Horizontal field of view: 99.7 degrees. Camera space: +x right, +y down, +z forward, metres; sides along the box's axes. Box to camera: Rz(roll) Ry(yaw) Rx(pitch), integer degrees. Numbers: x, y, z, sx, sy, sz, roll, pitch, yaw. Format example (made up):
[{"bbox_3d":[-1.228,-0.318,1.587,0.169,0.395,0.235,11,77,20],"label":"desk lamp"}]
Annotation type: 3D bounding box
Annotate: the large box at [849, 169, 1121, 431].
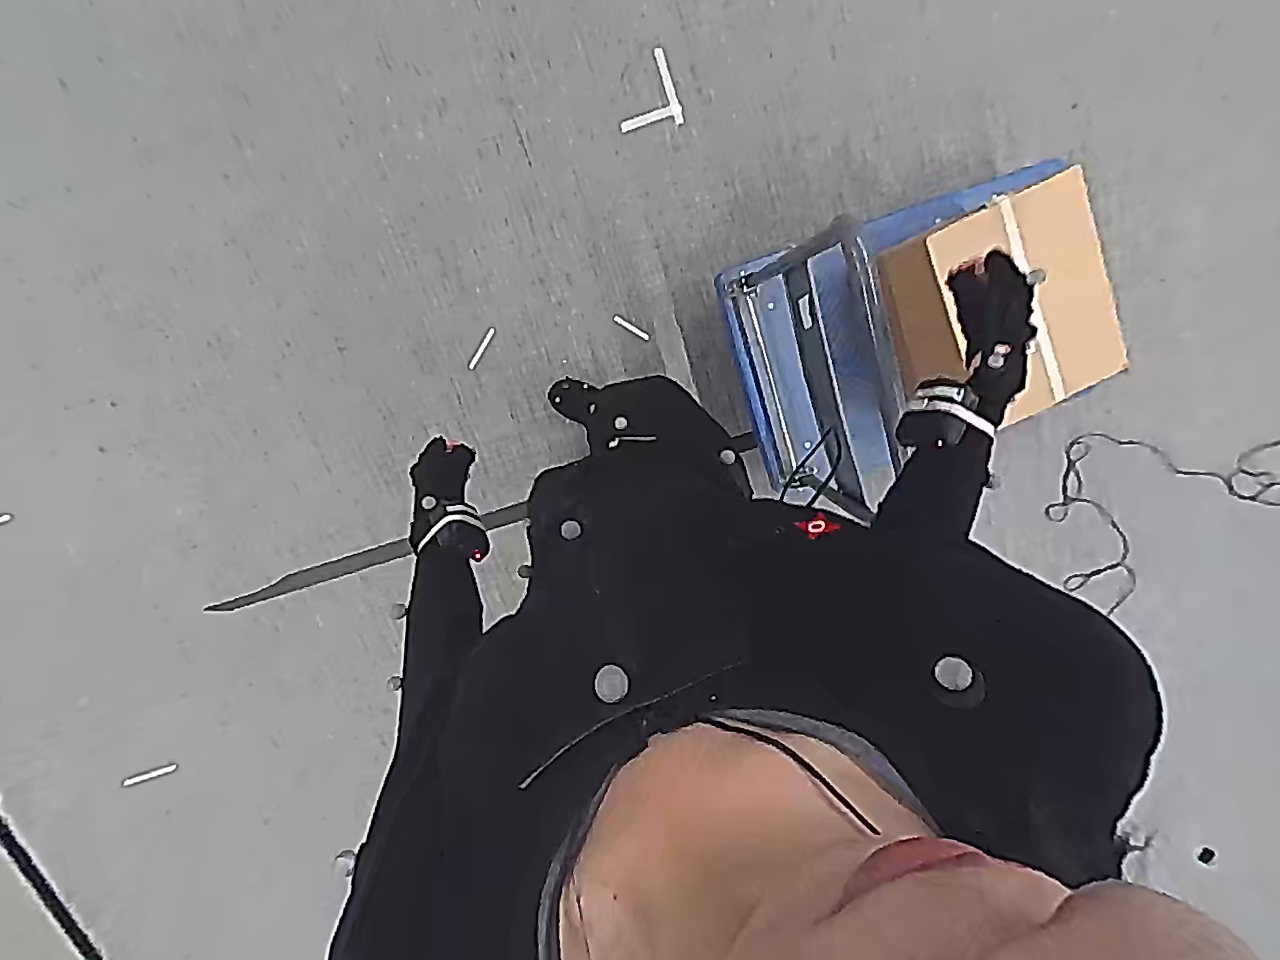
[{"bbox_3d":[0.723,-0.364,1.177,0.320,0.320,0.408,-26,103,1],"label":"large box"}]
